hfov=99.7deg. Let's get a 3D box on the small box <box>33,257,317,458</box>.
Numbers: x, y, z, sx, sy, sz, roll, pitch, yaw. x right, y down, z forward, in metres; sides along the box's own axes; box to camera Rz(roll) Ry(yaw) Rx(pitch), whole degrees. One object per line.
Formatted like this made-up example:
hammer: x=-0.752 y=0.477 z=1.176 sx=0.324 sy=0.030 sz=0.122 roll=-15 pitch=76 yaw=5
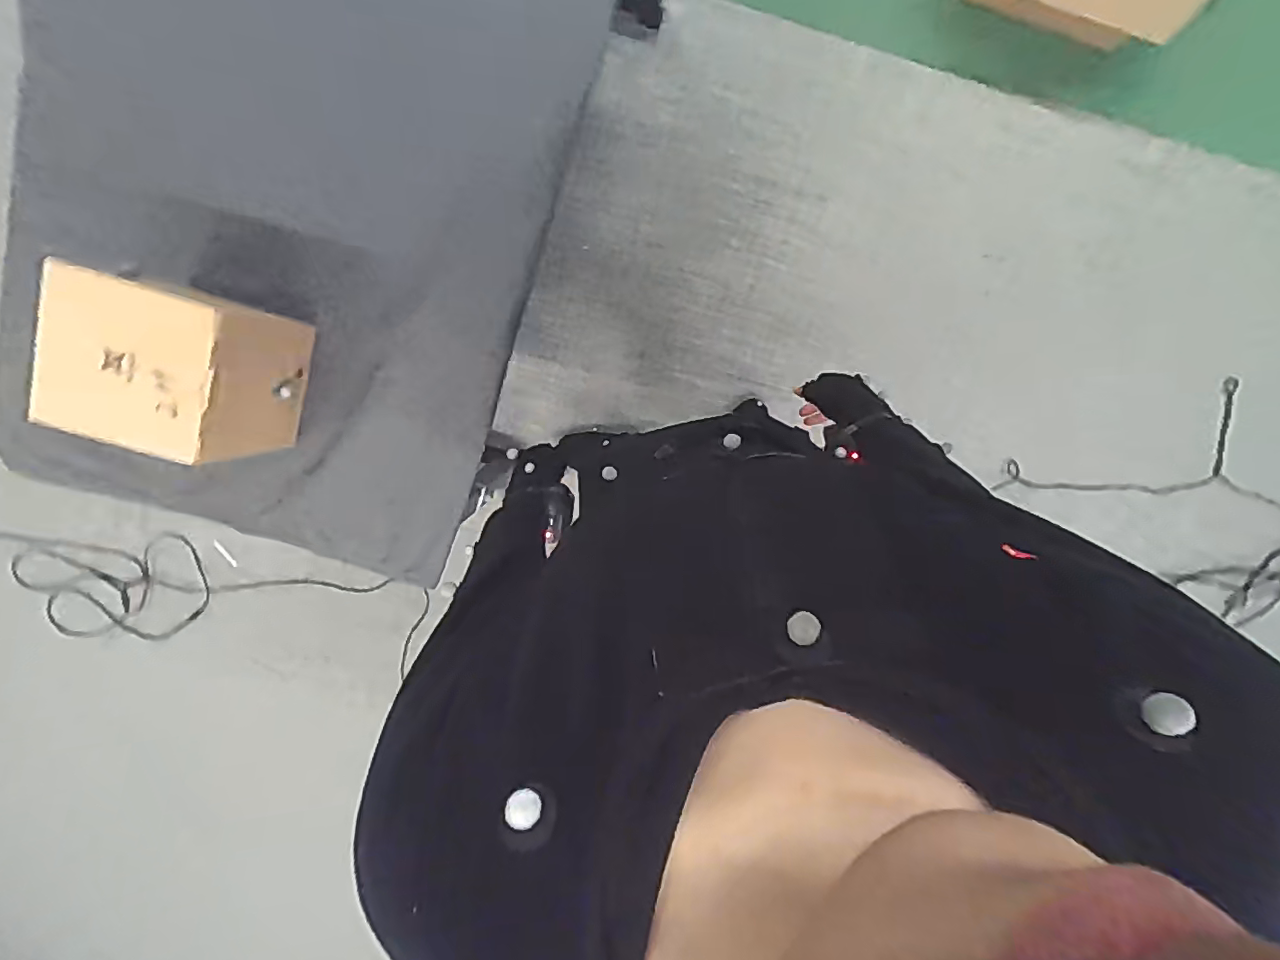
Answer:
small box: x=-0.521 y=-0.134 z=0.628 sx=0.179 sy=0.176 sz=0.168 roll=16 pitch=100 yaw=-3
